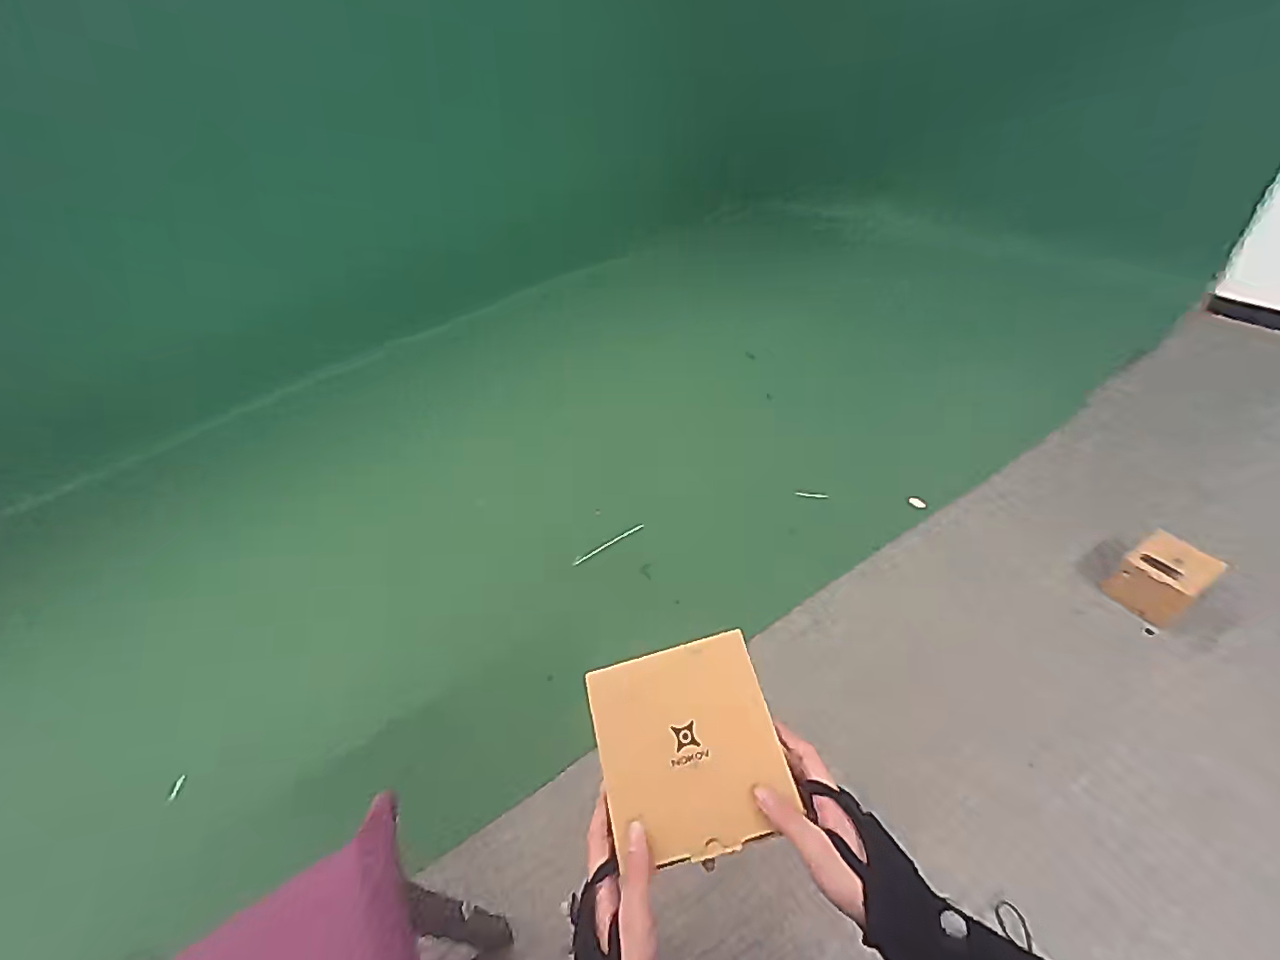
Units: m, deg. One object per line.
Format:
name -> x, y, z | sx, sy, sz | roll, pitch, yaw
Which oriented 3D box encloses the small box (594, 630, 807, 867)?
small box -> 0.058, 0.284, 0.571 | 0.168, 0.176, 0.179 | -15, 56, 1
